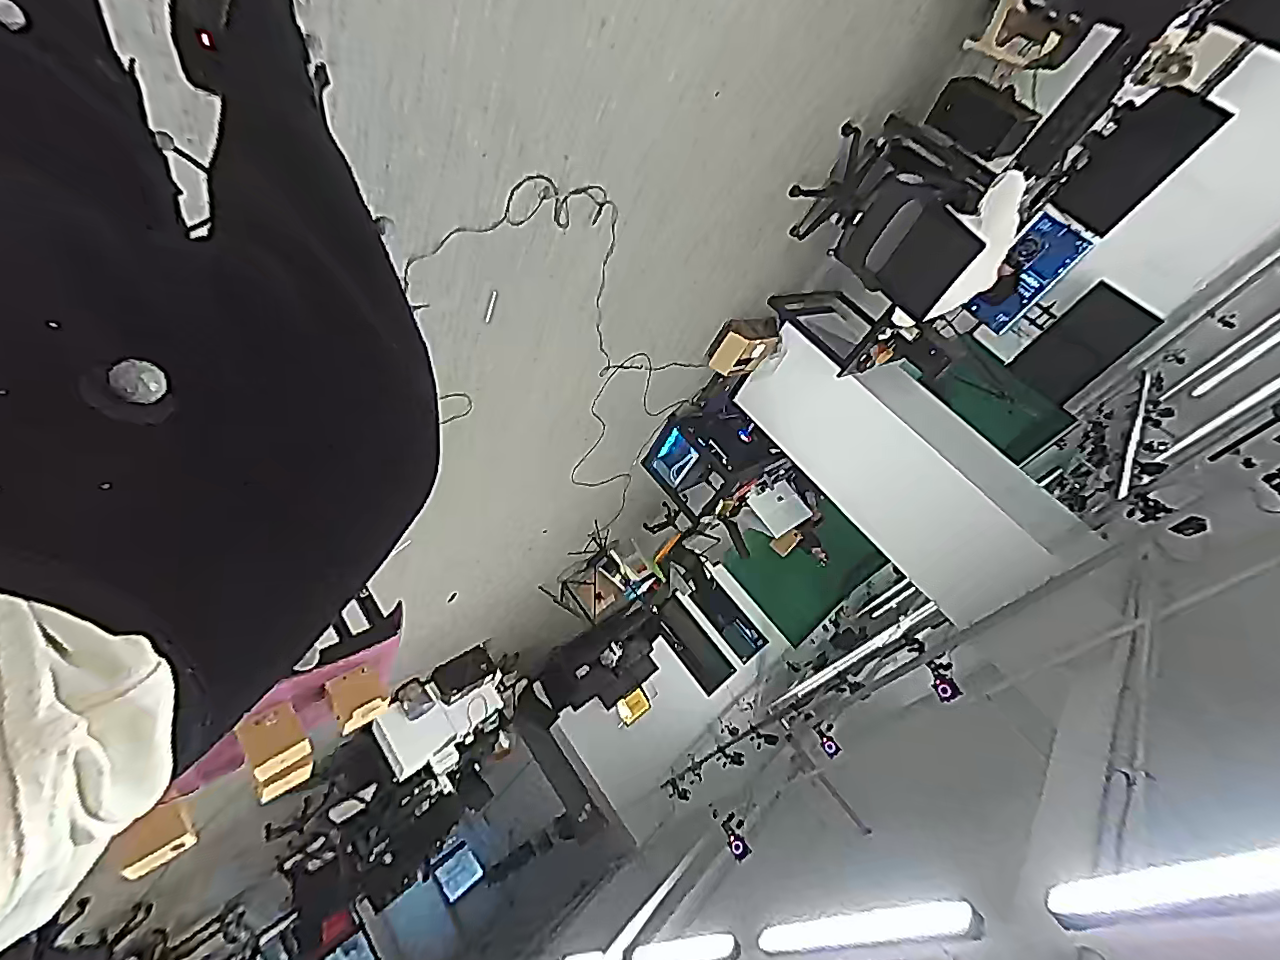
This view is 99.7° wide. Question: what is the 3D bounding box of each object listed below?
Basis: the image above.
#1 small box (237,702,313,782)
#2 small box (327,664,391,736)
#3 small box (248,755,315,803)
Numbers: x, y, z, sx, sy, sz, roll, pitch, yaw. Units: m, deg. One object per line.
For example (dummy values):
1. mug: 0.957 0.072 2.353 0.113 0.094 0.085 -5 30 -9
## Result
1. small box: -1.258 0.901 1.868 0.168 0.176 0.179 -25 157 -40
2. small box: -1.072 0.829 2.056 0.168 0.176 0.179 -22 156 -42
3. small box: -1.366 1.082 2.056 0.168 0.176 0.179 -20 152 -45
